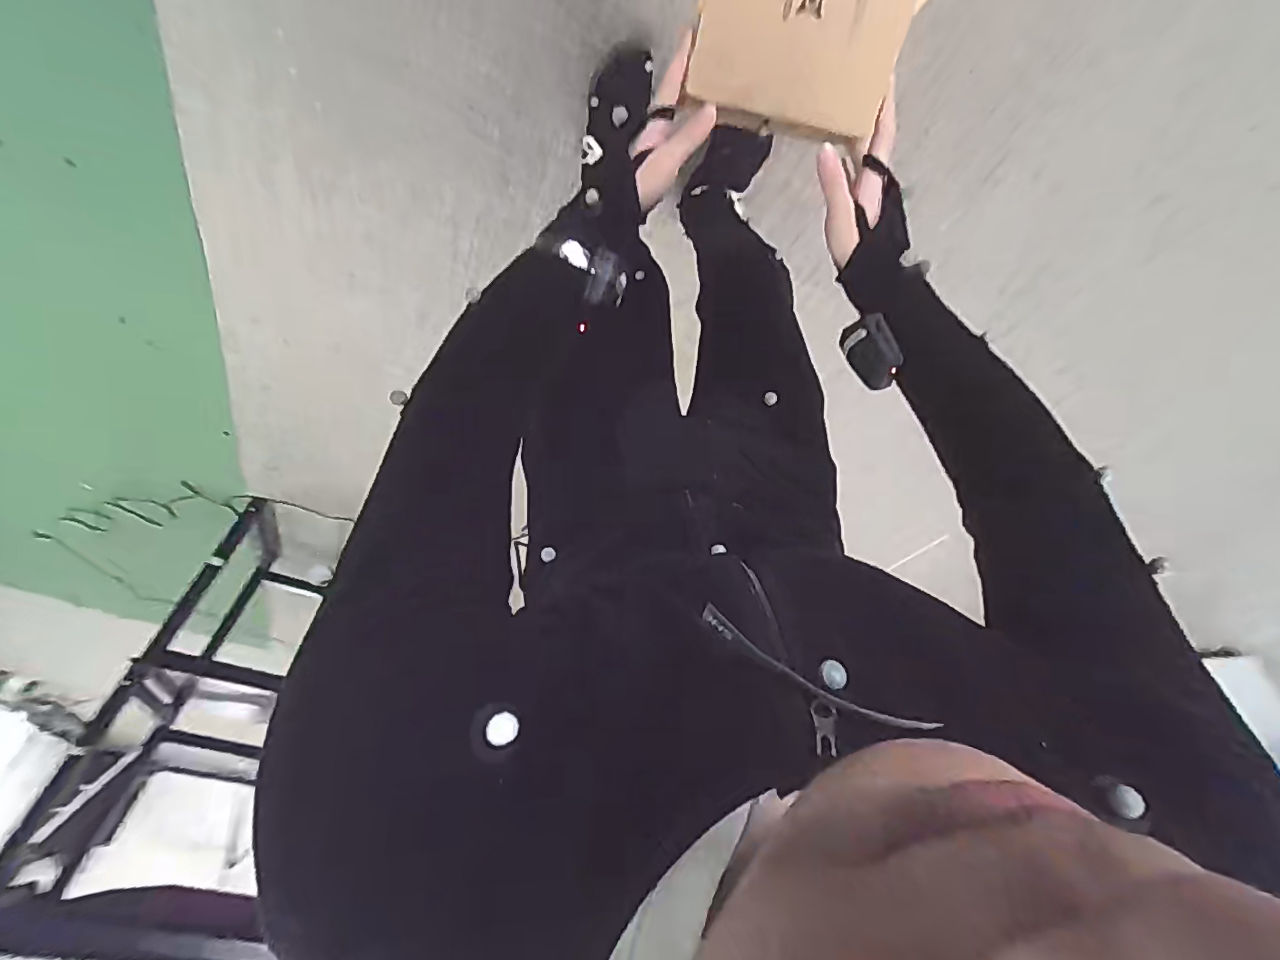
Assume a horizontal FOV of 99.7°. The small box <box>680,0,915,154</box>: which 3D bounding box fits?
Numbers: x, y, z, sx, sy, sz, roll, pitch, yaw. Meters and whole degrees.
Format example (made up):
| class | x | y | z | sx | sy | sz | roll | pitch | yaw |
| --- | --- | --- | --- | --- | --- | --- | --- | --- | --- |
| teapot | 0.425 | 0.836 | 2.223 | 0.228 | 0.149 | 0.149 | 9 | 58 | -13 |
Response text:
| class | x | y | z | sx | sy | sz | roll | pitch | yaw |
| --- | --- | --- | --- | --- | --- | --- | --- | --- | --- |
| small box | 0.143 | -0.425 | 0.521 | 0.179 | 0.176 | 0.168 | 12 | 120 | -1 |
